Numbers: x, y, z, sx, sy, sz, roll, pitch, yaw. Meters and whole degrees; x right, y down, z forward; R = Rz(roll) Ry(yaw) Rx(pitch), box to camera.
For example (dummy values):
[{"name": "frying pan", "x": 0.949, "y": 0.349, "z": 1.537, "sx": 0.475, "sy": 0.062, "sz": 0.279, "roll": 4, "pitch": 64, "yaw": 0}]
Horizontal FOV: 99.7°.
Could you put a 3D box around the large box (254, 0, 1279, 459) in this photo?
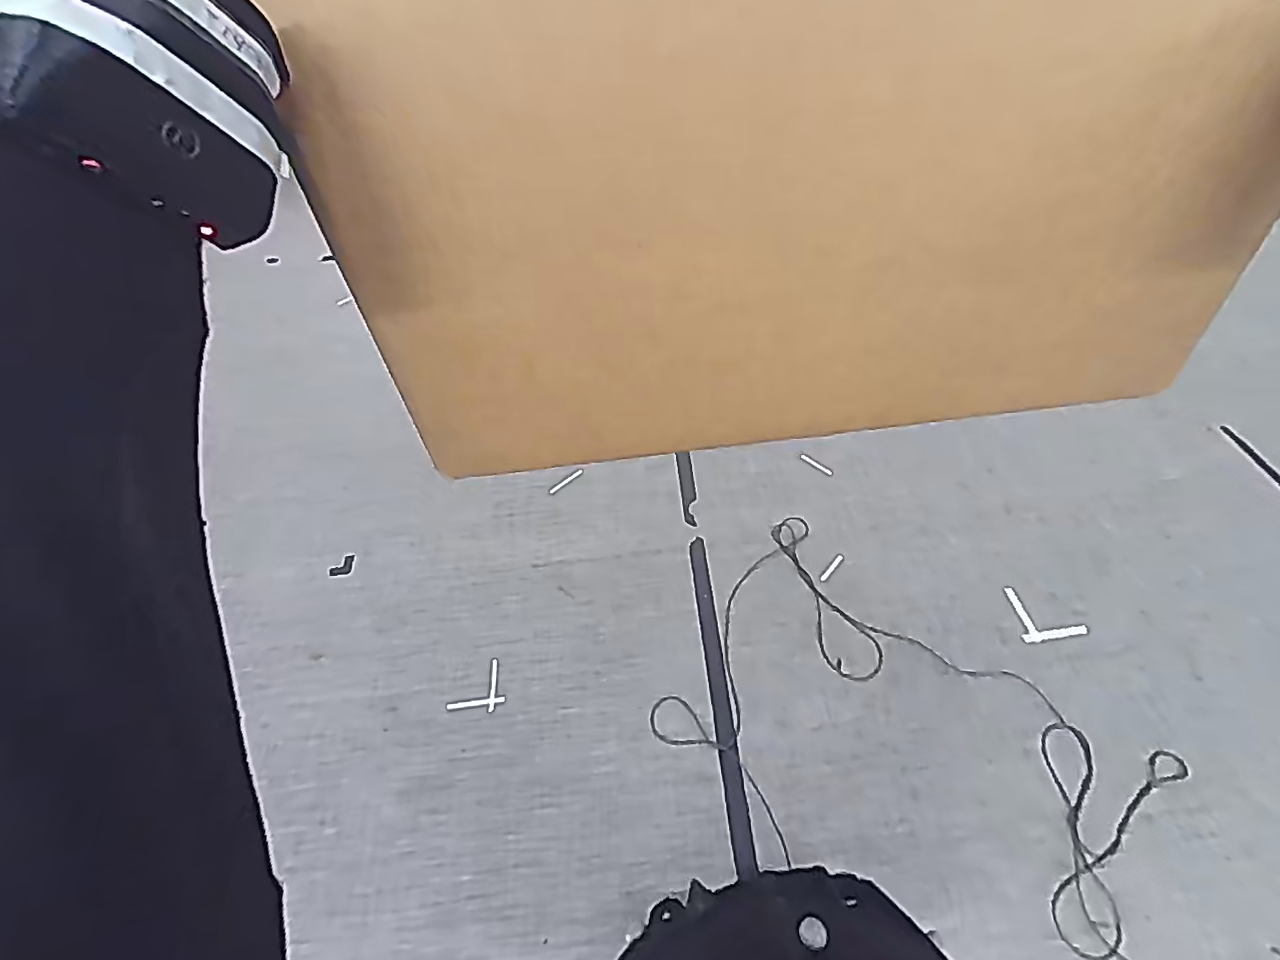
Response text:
[{"name": "large box", "x": 0.060, "y": -0.241, "z": 0.318, "sx": 0.408, "sy": 0.320, "sz": 0.320, "roll": -7, "pitch": 42, "yaw": 1}]
